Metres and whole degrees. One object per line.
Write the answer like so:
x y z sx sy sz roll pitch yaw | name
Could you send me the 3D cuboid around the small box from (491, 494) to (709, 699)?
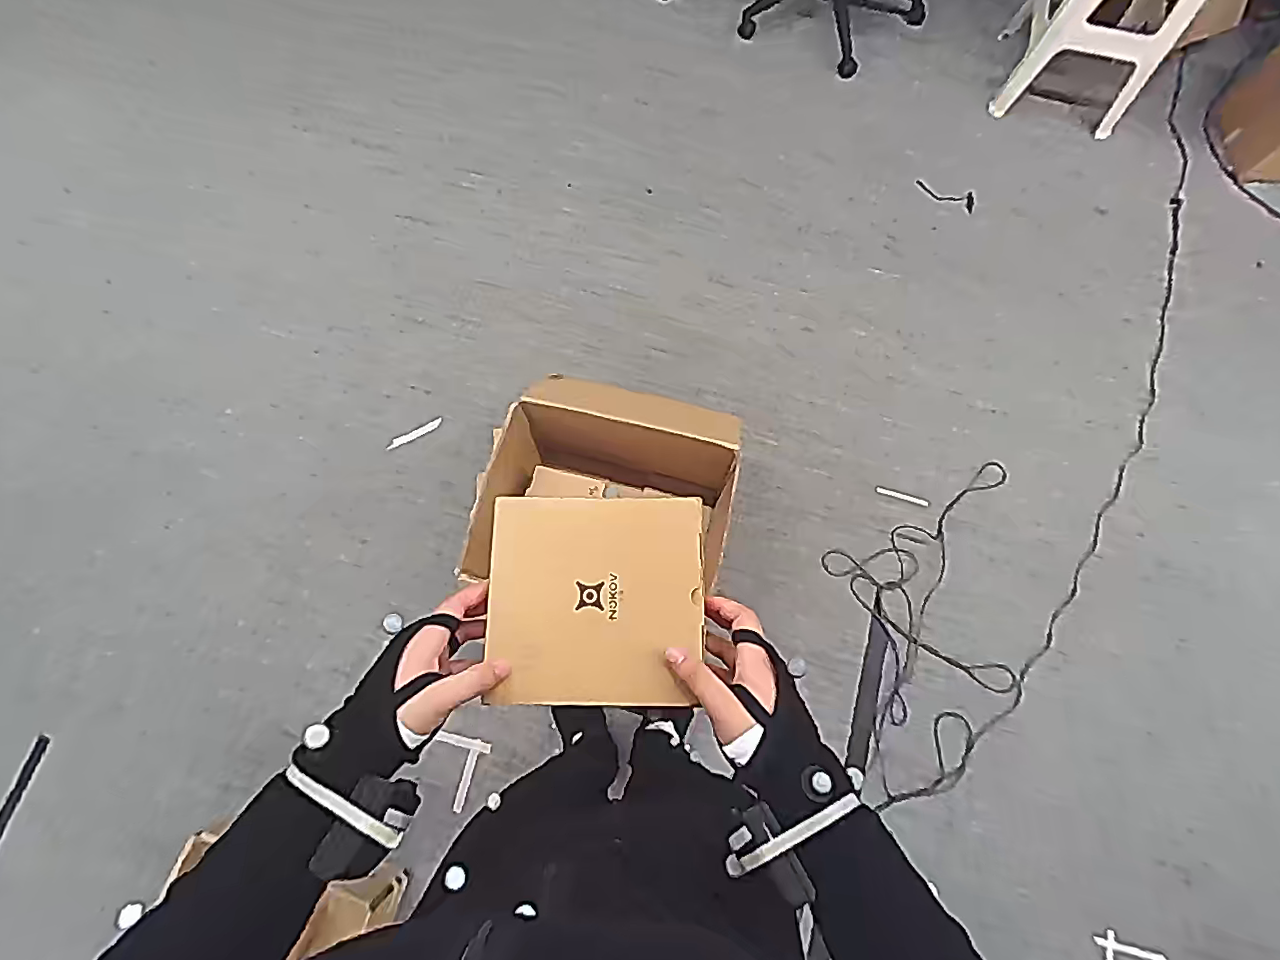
-0.030 0.113 0.523 0.179 0.176 0.168 1 76 0 | small box
